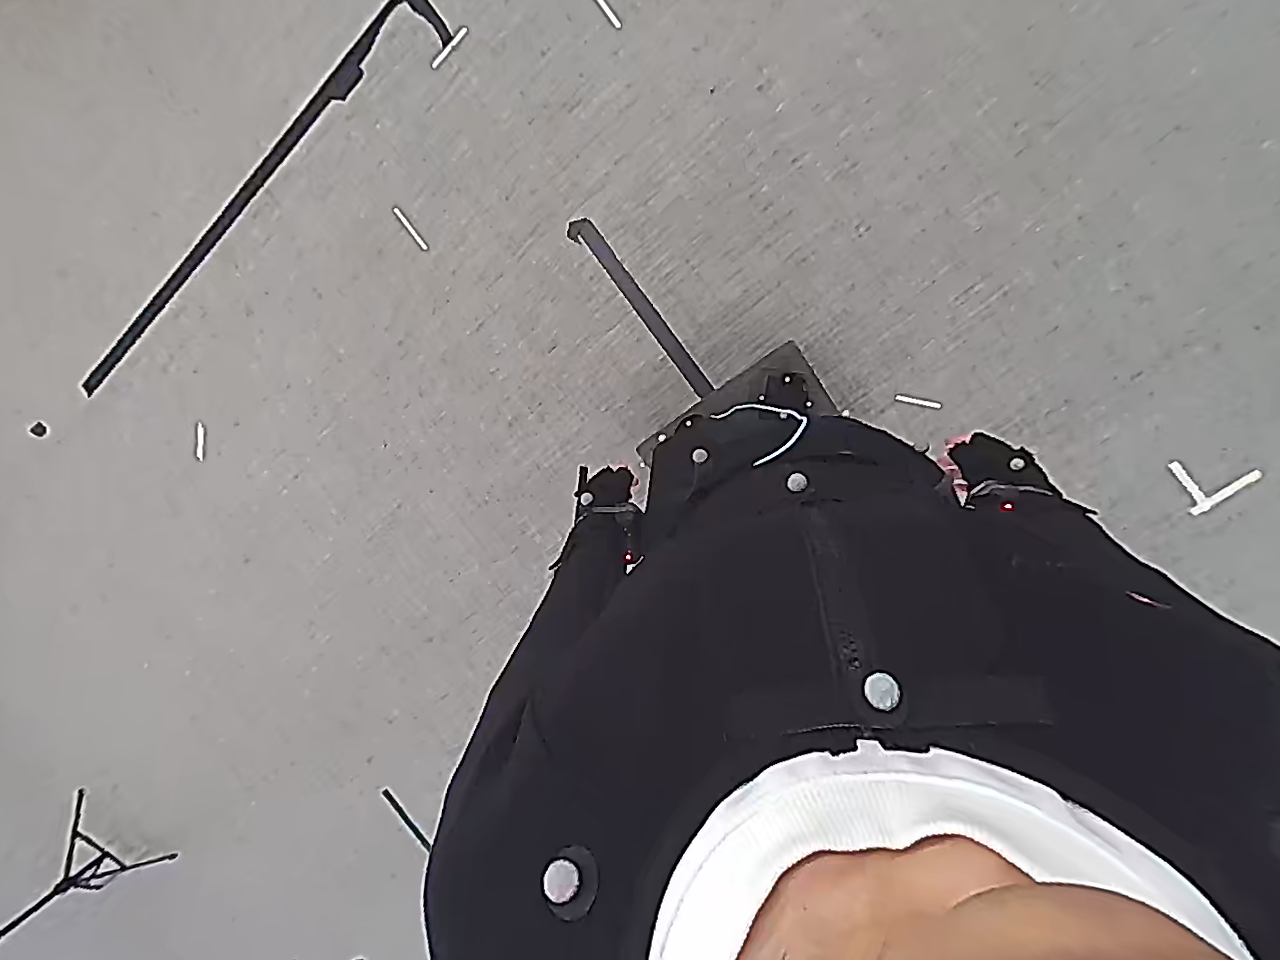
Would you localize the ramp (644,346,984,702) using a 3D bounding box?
[{"bbox_3d":[0.503,0.171,1.509,0.509,0.206,0.991,-38,92,13],"label":"ramp"}]
